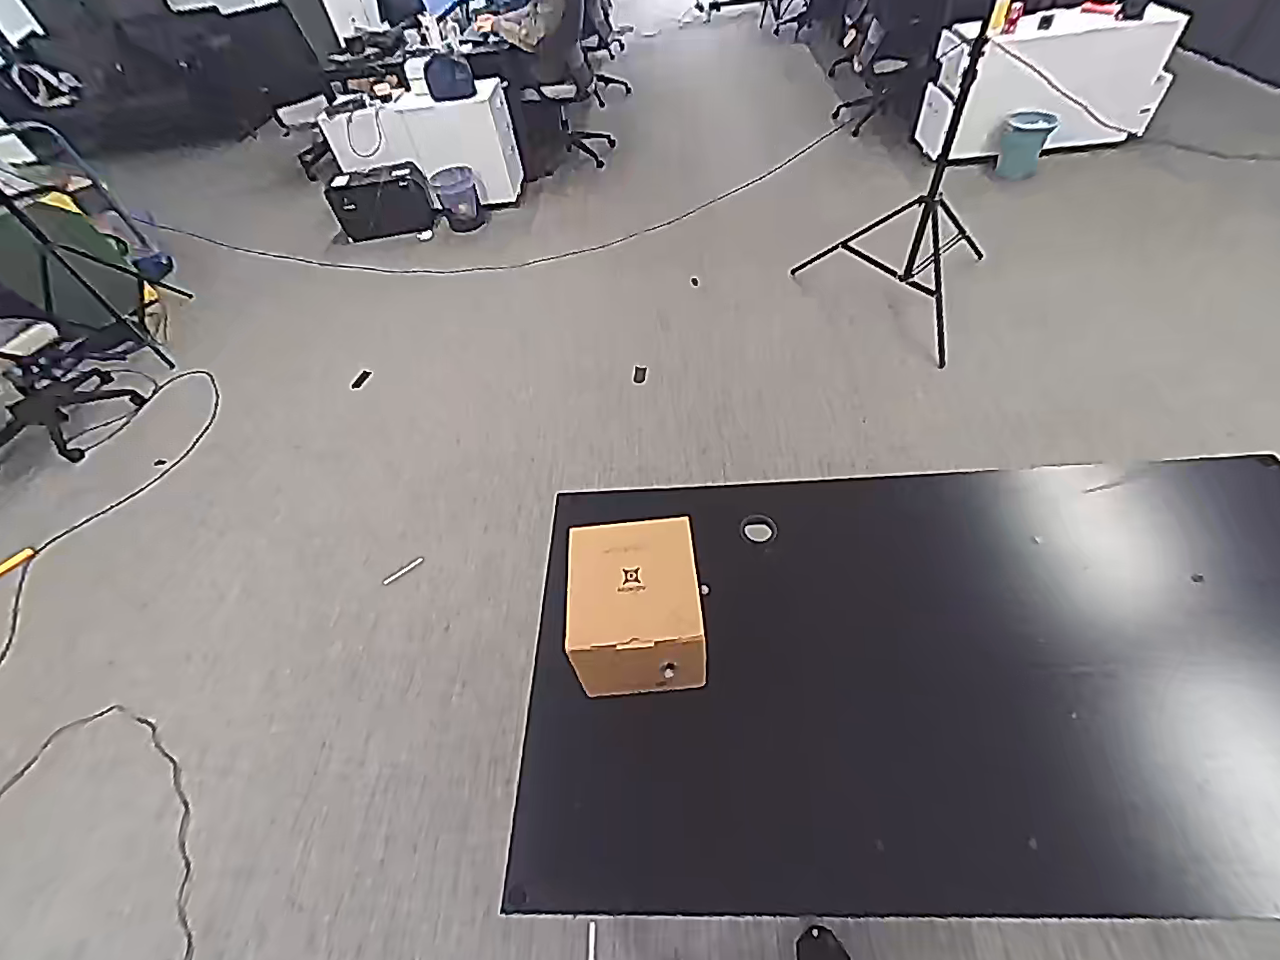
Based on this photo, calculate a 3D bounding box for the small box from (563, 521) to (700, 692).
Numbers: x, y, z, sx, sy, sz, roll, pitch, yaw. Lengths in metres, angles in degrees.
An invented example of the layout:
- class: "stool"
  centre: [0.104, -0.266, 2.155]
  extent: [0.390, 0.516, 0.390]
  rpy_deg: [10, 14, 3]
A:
- class: "small box"
  centre: [-0.008, 0.182, 0.750]
  extent: [0.168, 0.176, 0.179]
  rpy_deg: [-5, 49, 1]
